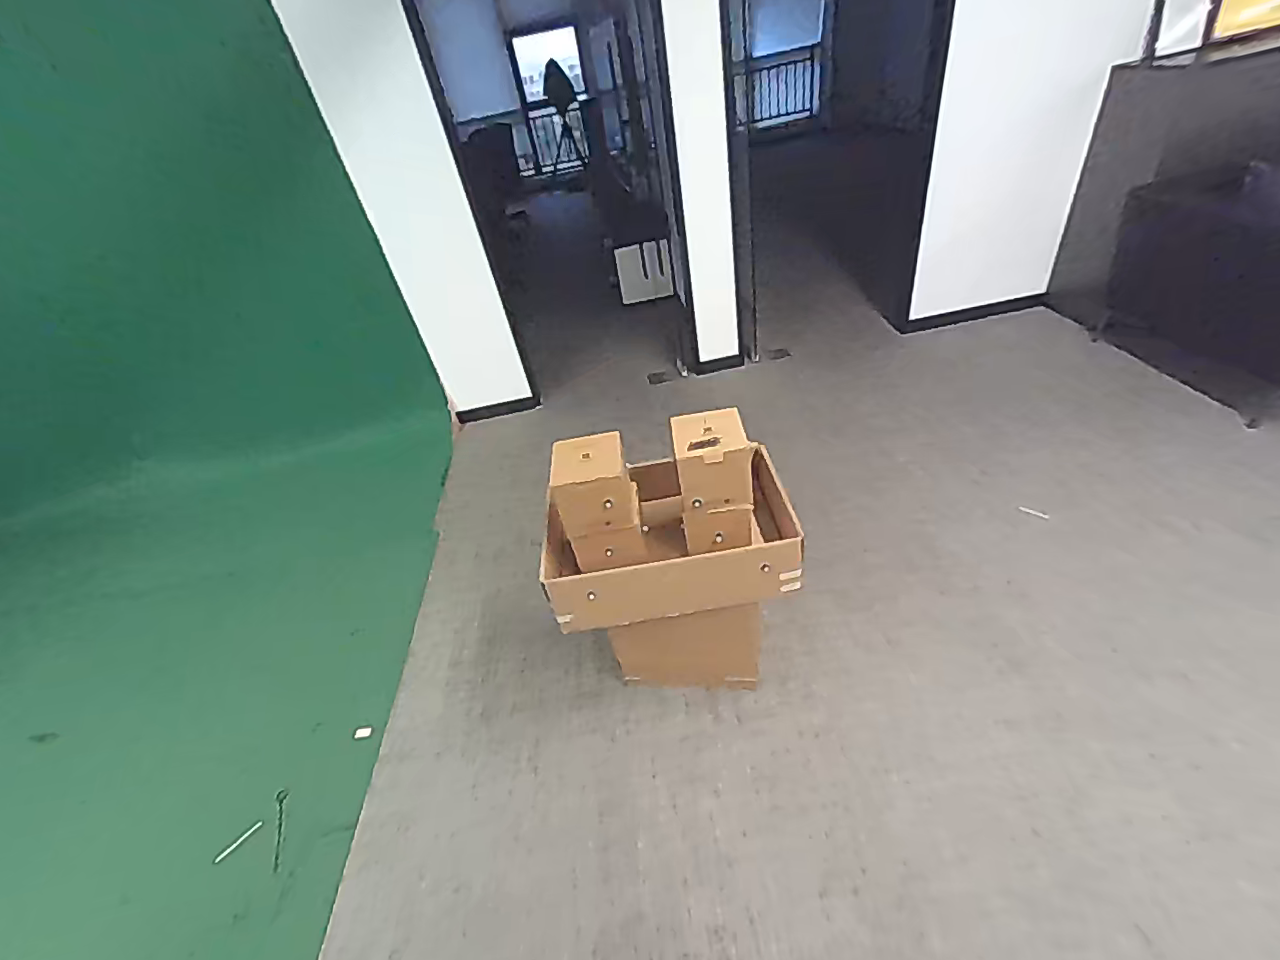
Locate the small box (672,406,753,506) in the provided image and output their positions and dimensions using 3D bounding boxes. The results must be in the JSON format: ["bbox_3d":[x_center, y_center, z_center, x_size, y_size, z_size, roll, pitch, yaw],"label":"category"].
[{"bbox_3d":[0.174,-0.052,1.305,0.168,0.176,0.179,-9,38,5],"label":"small box"}]

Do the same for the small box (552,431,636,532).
[{"bbox_3d":[-0.106,0.010,1.311,0.168,0.176,0.179,-10,38,3],"label":"small box"}]
